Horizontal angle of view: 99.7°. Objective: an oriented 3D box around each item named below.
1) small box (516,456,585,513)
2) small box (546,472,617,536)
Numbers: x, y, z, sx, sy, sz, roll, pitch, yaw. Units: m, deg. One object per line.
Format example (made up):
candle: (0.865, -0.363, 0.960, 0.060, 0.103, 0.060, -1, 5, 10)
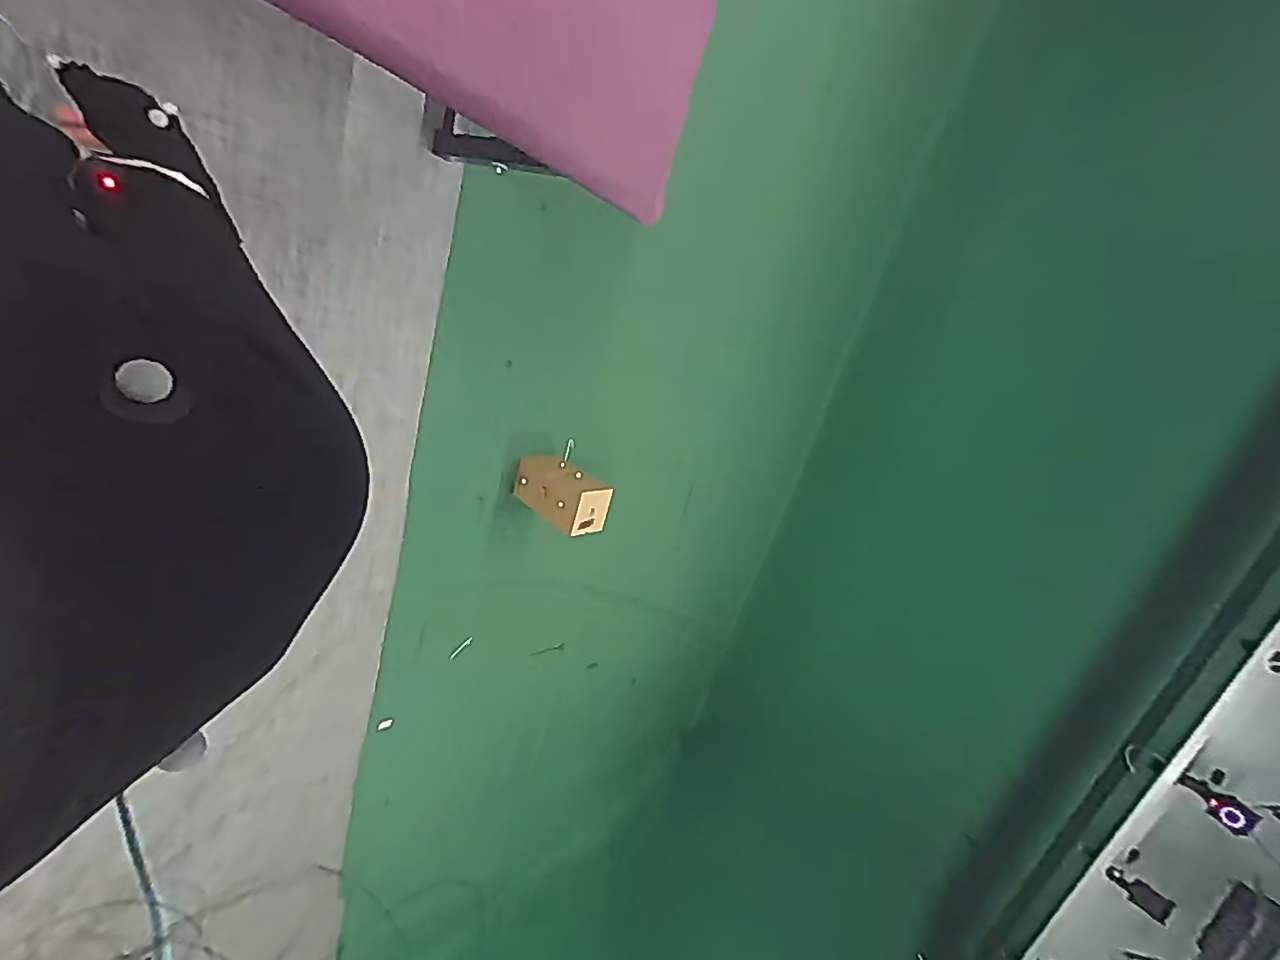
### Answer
small box: (-0.340, 0.011, 2.062, 0.179, 0.176, 0.168, -5, 117, -51)
small box: (-0.219, 0.084, 1.973, 0.168, 0.176, 0.179, -3, 117, -54)
